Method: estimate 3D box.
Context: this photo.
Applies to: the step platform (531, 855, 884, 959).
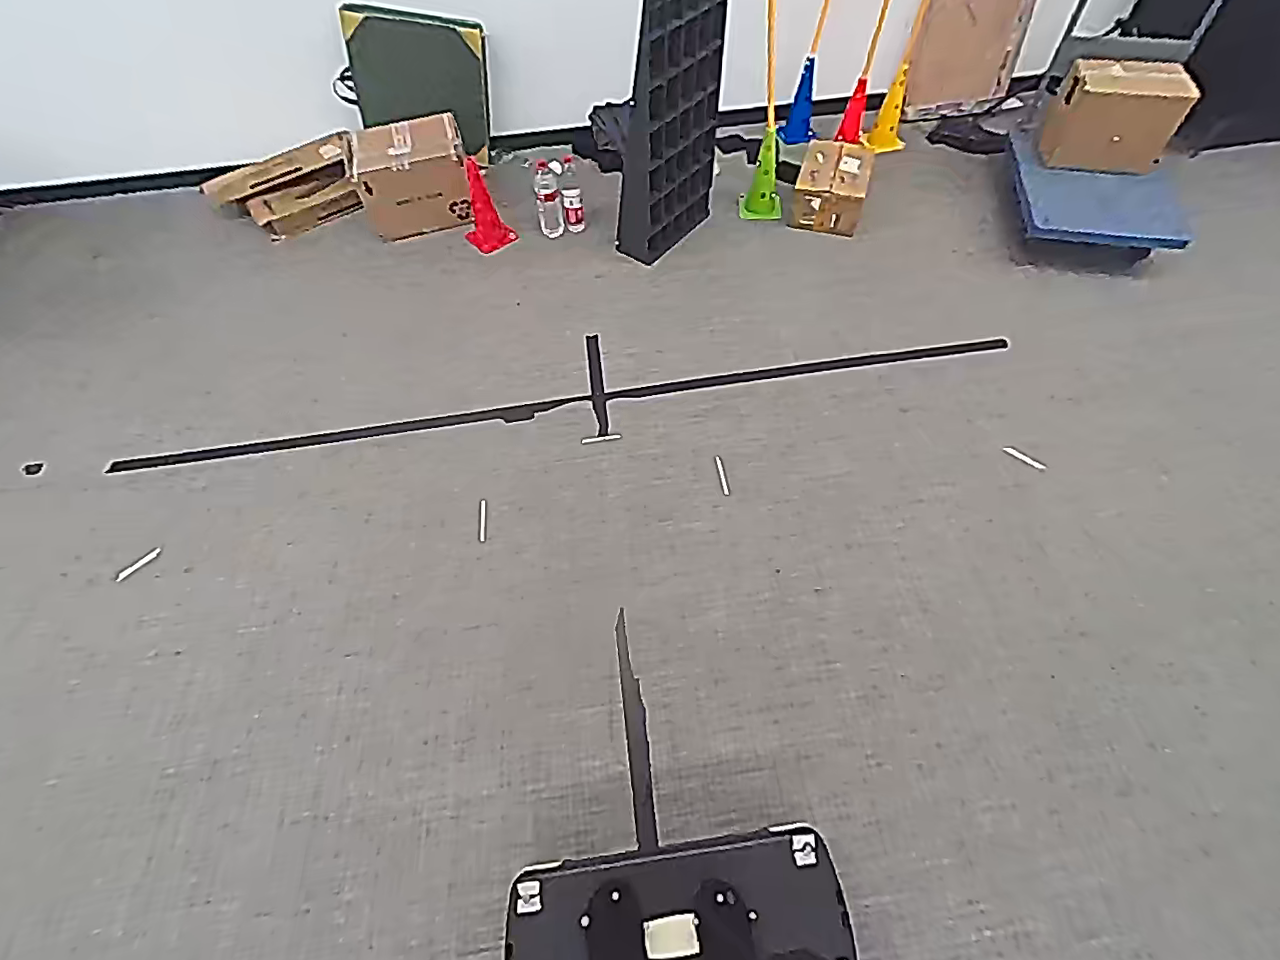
[{"bbox_3d":[0.127,0.947,1.084,0.684,0.204,0.286,-4,56,-1],"label":"step platform"}]
